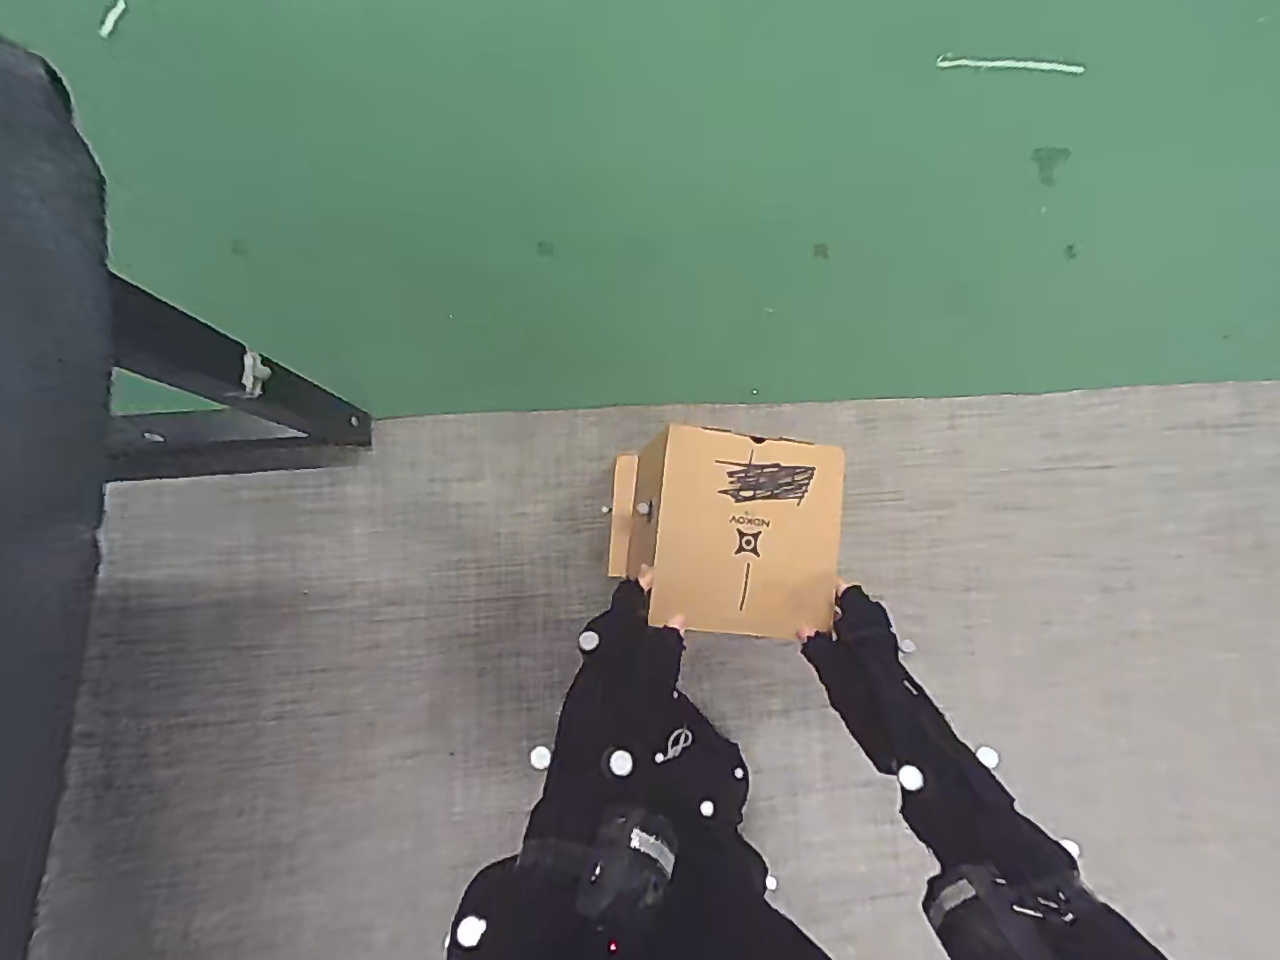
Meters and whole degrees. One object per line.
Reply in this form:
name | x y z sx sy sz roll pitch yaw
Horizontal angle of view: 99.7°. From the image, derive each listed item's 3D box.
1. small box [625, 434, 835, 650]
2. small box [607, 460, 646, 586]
small box | 0.080 0.064 0.555 0.168 0.176 0.179 7 83 -7
small box | 0.038 0.072 0.831 0.168 0.176 0.179 4 84 -4
